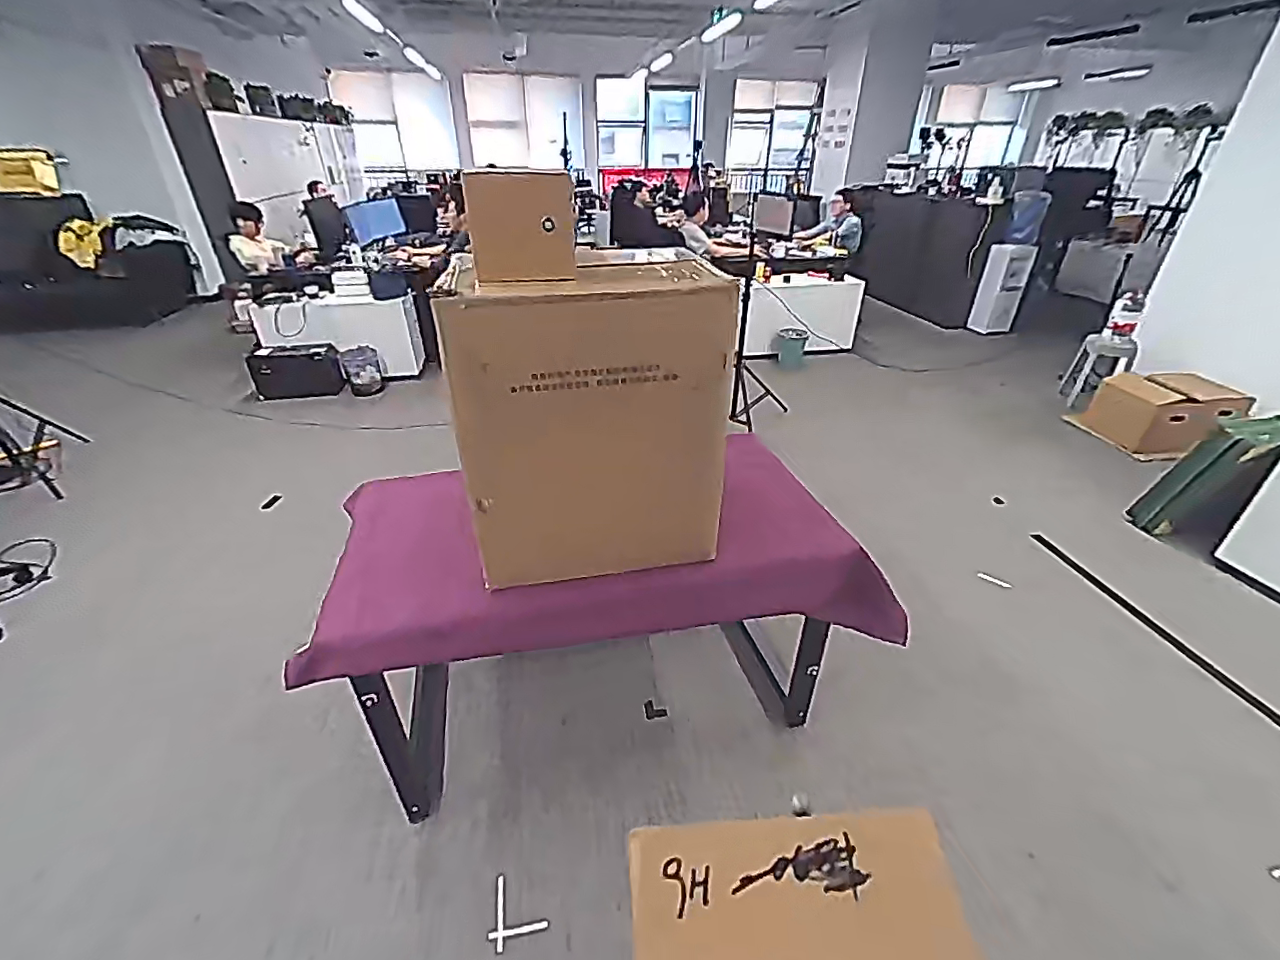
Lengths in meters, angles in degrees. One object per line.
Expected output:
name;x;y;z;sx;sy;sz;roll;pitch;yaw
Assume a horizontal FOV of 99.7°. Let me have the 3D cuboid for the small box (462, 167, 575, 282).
small box;-0.210;-0.459;0.968;0.179;0.176;0.168;-7;32;-10
